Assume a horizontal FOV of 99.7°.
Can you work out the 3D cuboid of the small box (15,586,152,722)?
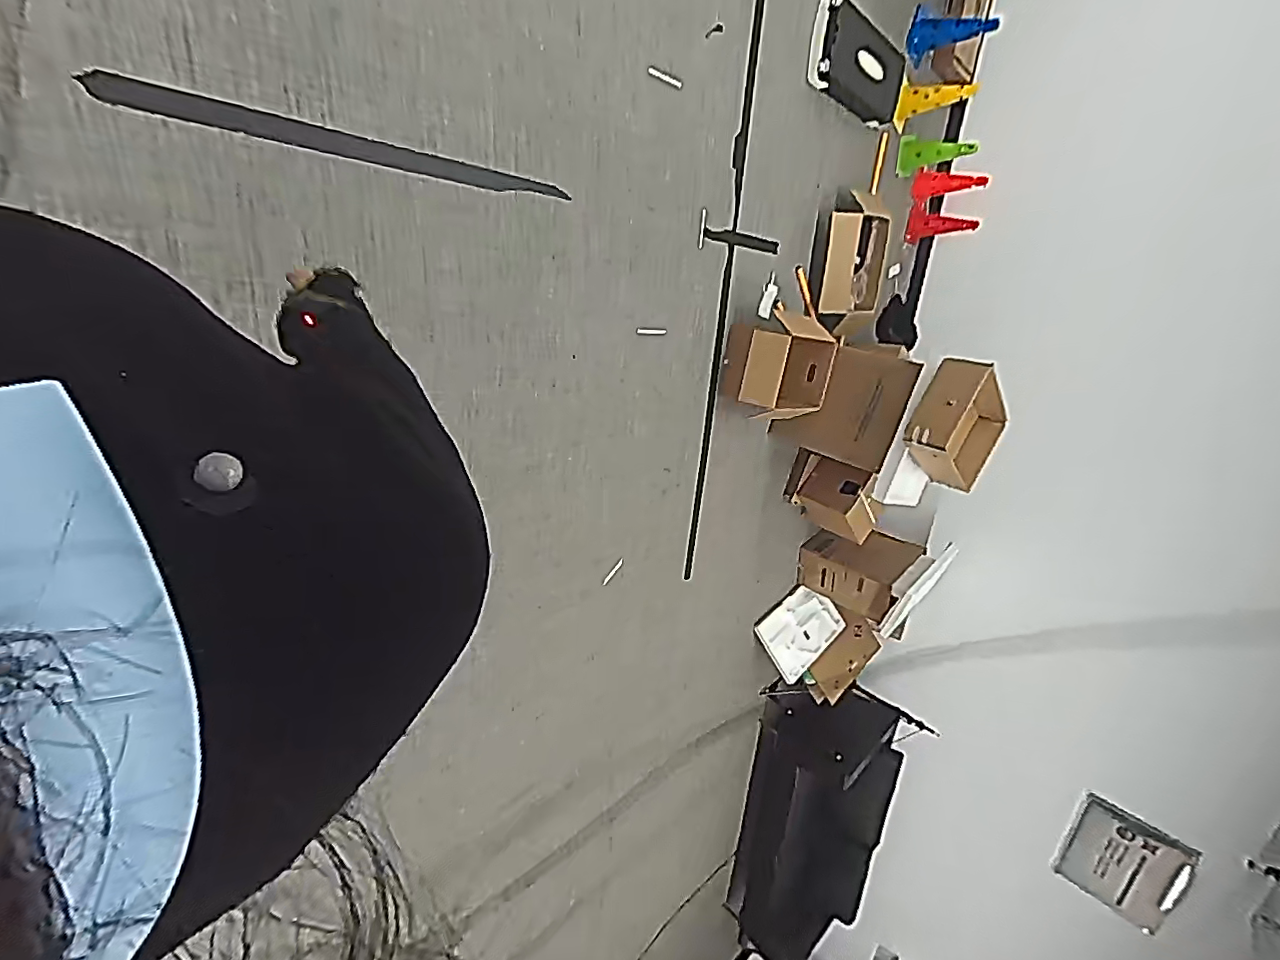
[{"bbox_3d":[-1.140,0.350,1.117,0.168,0.176,0.179,-16,118,-42],"label":"small box"}]
